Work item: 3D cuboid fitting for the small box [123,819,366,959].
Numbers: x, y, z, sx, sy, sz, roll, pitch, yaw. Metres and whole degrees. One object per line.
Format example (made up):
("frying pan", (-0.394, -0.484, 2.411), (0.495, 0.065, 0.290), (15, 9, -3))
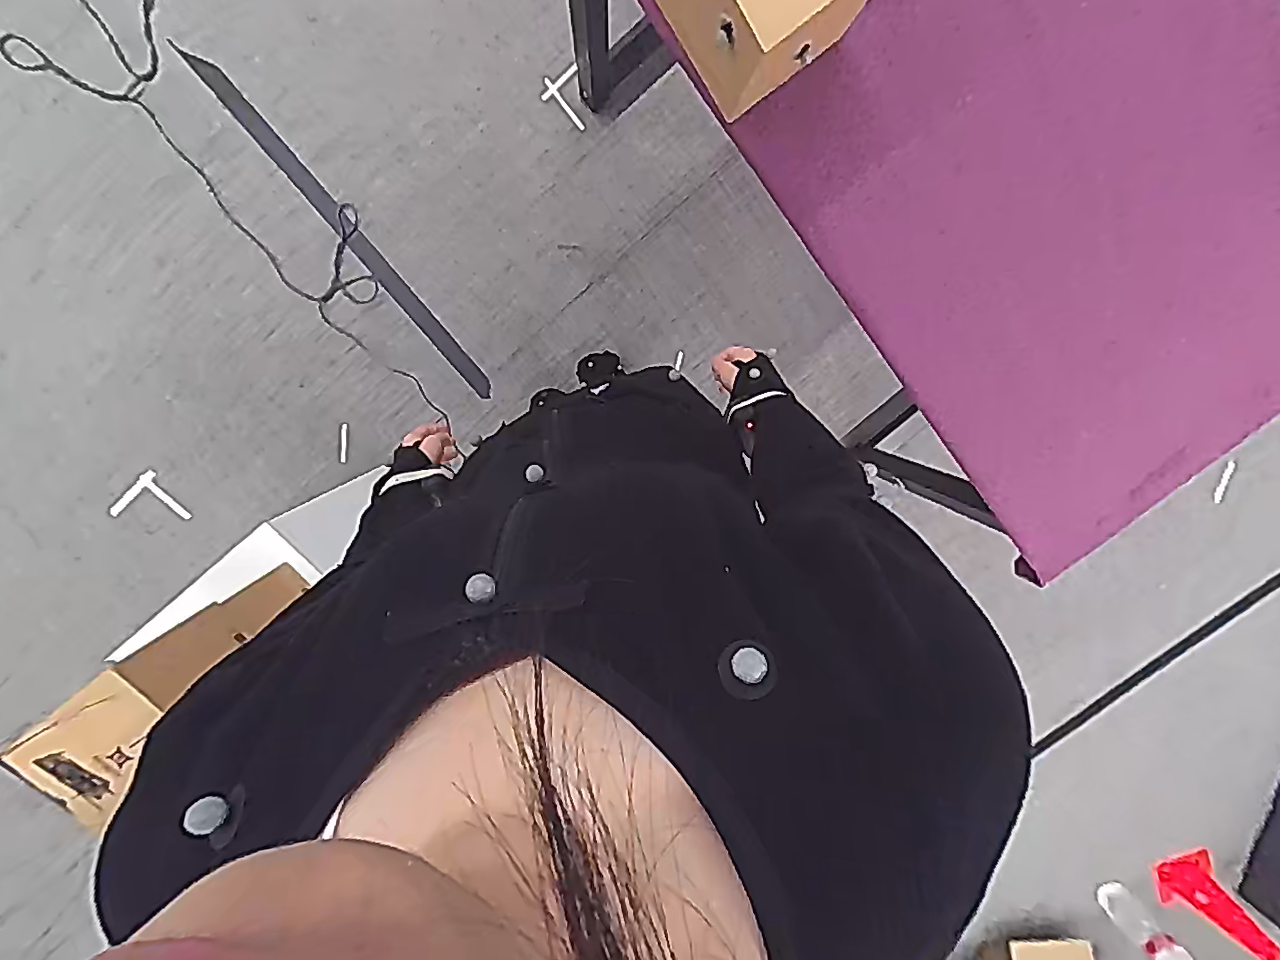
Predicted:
("small box", (-0.439, 0.523, 0.581), (0.179, 0.176, 0.168), (-40, 103, 6))

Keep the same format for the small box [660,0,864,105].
("small box", (0.130, -0.530, 0.556), (0.168, 0.176, 0.179), (-35, 102, 5))

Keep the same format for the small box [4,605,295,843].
("small box", (-0.593, 0.294, 0.684), (0.179, 0.176, 0.168), (-37, 103, 5))
